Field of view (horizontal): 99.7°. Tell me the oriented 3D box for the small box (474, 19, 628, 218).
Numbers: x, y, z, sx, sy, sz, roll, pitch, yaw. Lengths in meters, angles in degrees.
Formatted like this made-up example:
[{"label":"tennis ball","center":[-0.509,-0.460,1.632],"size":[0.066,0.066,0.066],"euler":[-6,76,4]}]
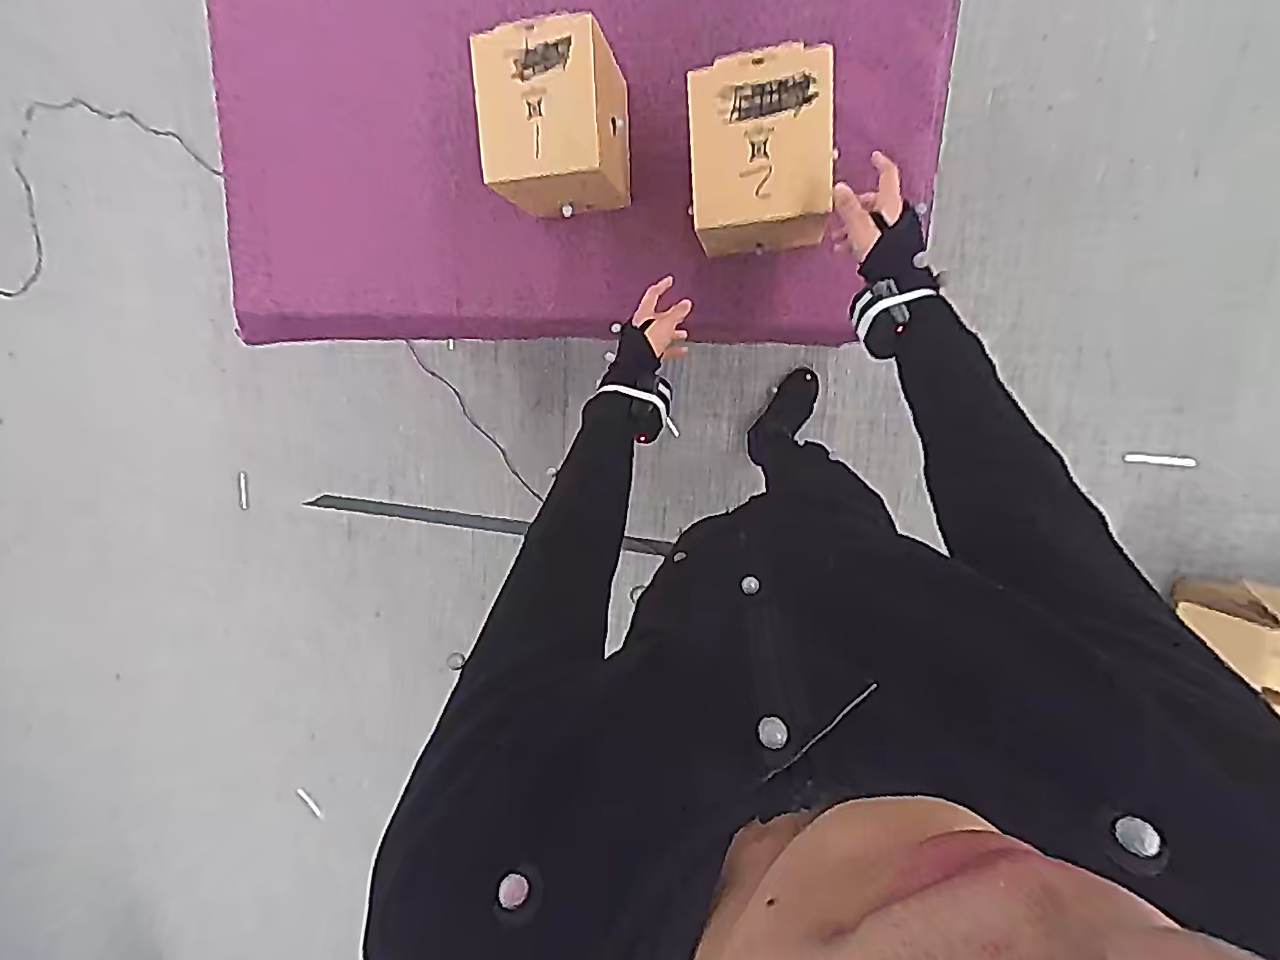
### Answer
[{"label":"small box","center":[-0.116,-0.496,0.770],"size":[0.168,0.176,0.179],"euler":[0,101,13]}]
